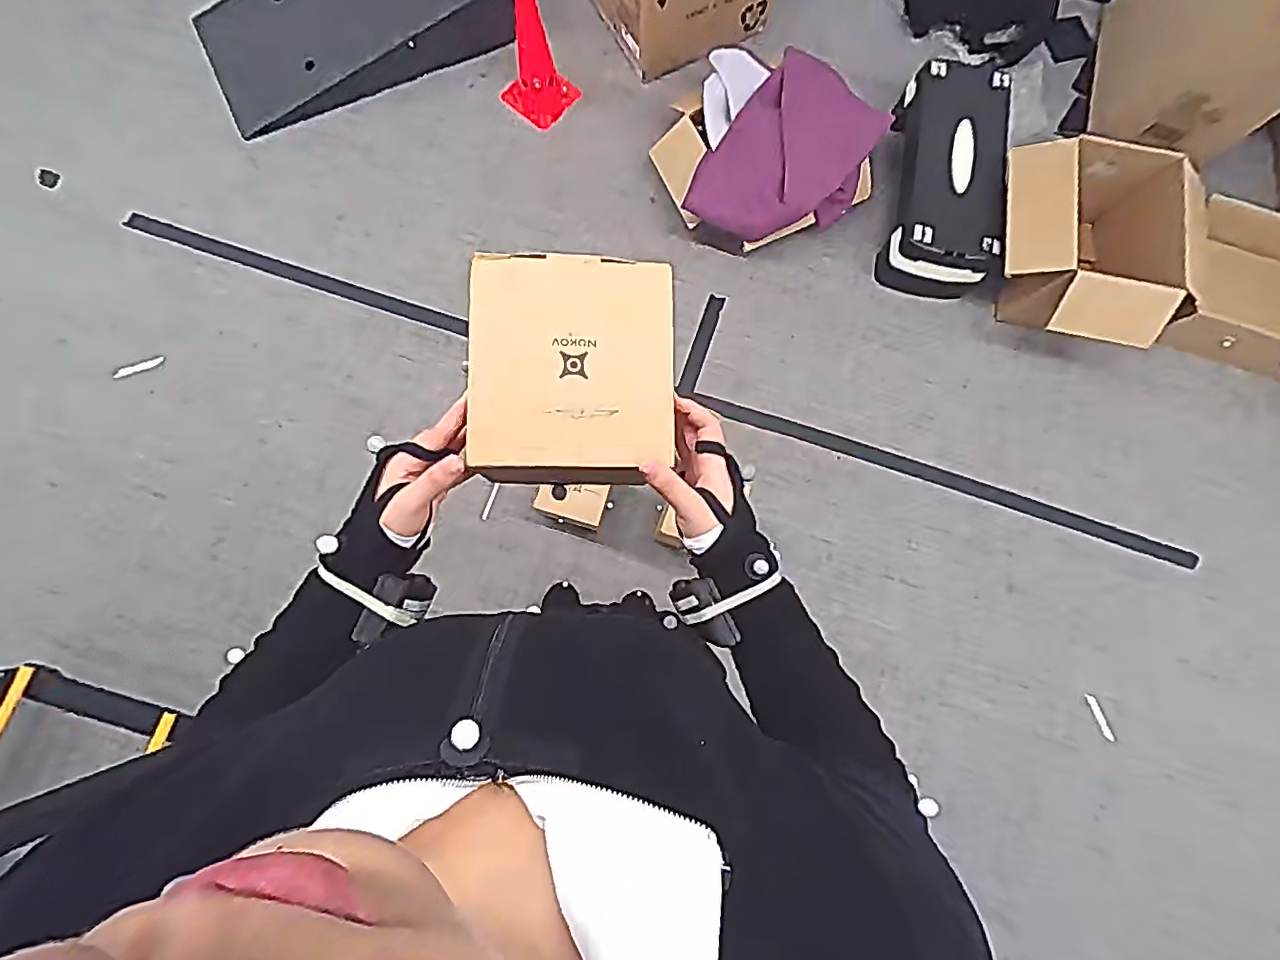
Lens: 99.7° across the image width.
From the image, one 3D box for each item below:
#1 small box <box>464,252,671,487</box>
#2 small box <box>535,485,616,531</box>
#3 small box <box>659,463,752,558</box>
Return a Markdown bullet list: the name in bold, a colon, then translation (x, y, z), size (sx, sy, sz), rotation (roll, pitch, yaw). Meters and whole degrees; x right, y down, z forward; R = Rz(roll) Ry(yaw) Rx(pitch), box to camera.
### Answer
- **small box**: translation (-0.066, -0.089, 0.516), size (0.168, 0.176, 0.179), rotation (0, 84, -7)
- **small box**: translation (-0.166, 0.036, 1.466), size (0.179, 0.176, 0.168), rotation (17, 80, 0)
- **small box**: translation (0.149, 0.079, 1.306), size (0.168, 0.176, 0.179), rotation (20, 80, 1)
